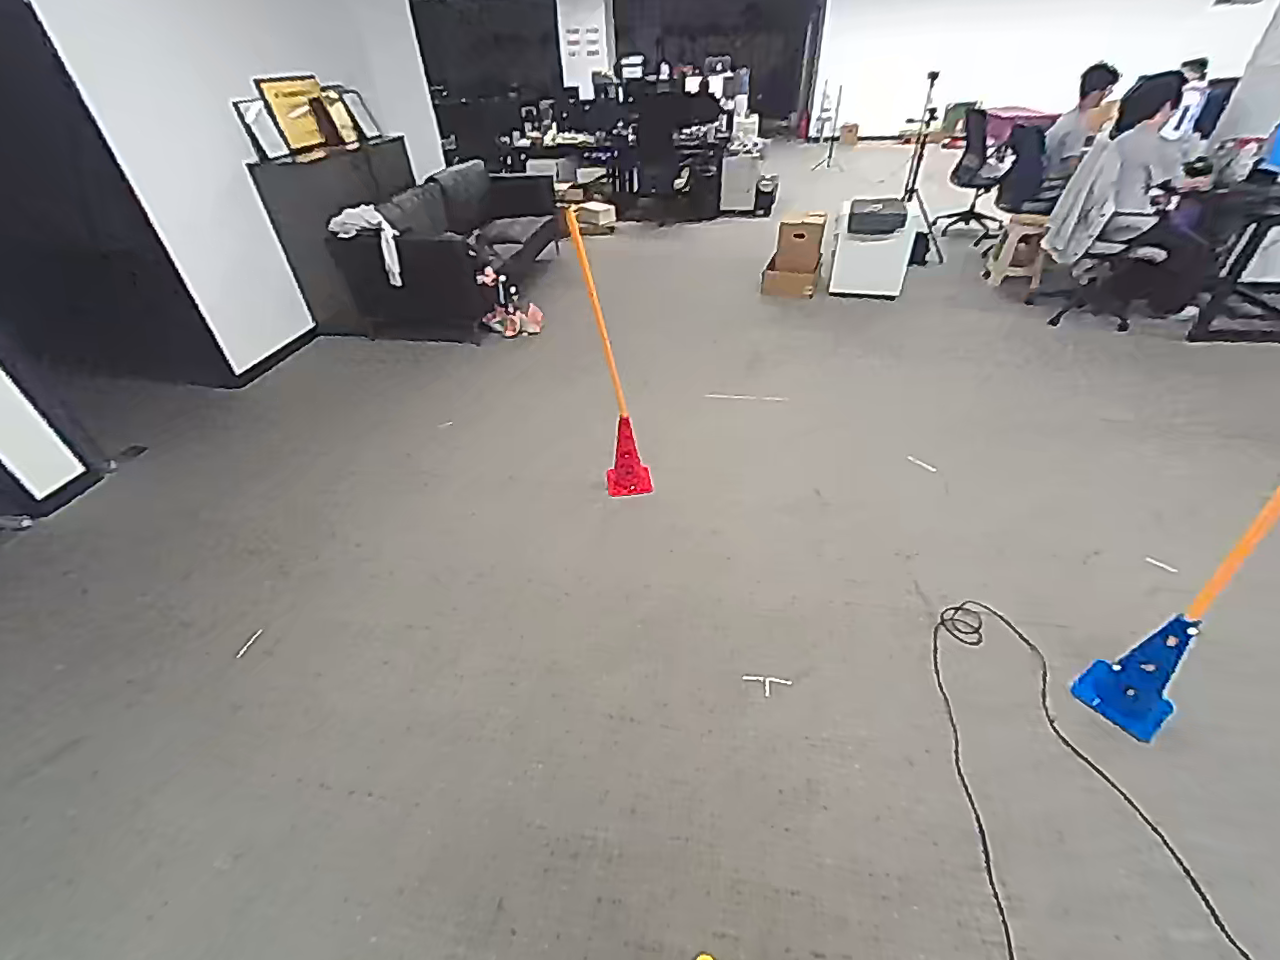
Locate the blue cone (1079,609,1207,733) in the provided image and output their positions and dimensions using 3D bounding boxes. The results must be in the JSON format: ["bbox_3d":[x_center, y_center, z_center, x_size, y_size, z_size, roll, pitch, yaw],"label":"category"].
[{"bbox_3d":[1.402,0.486,1.476,0.193,0.380,0.192,-23,41,-28],"label":"blue cone"}]
